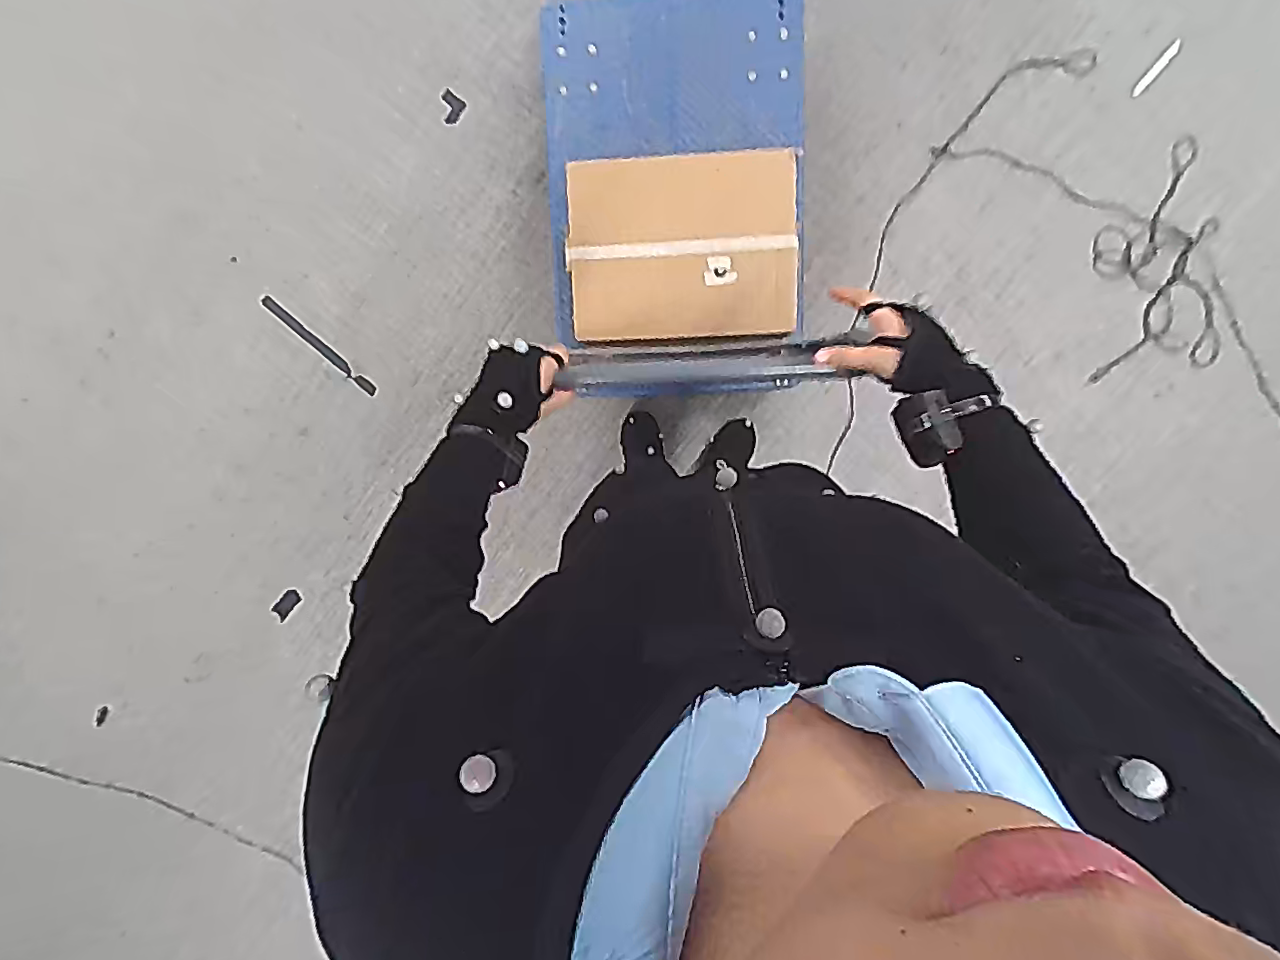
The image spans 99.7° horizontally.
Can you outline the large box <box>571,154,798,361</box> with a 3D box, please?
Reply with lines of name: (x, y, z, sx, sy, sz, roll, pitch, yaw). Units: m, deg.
large box: (0.085, -0.428, 1.120, 0.408, 0.320, 0.320, -2, 98, 2)
